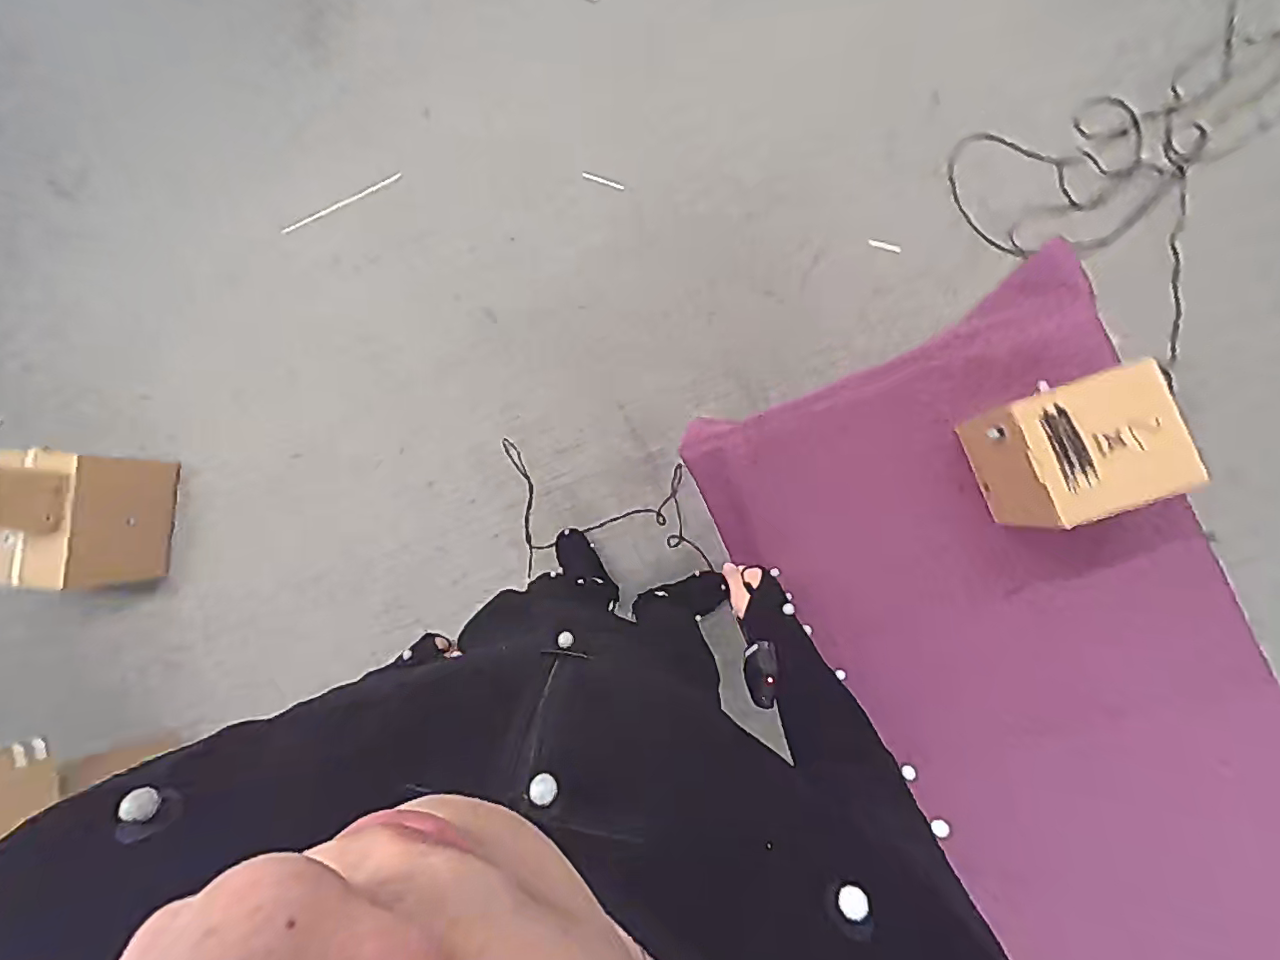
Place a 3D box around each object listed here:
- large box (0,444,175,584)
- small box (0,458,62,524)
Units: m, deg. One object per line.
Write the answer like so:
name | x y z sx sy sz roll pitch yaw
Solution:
large box | -1.779 0.099 1.732 0.320 0.320 0.408 3 89 8
small box | -1.761 0.026 1.485 0.179 0.176 0.168 8 88 7
